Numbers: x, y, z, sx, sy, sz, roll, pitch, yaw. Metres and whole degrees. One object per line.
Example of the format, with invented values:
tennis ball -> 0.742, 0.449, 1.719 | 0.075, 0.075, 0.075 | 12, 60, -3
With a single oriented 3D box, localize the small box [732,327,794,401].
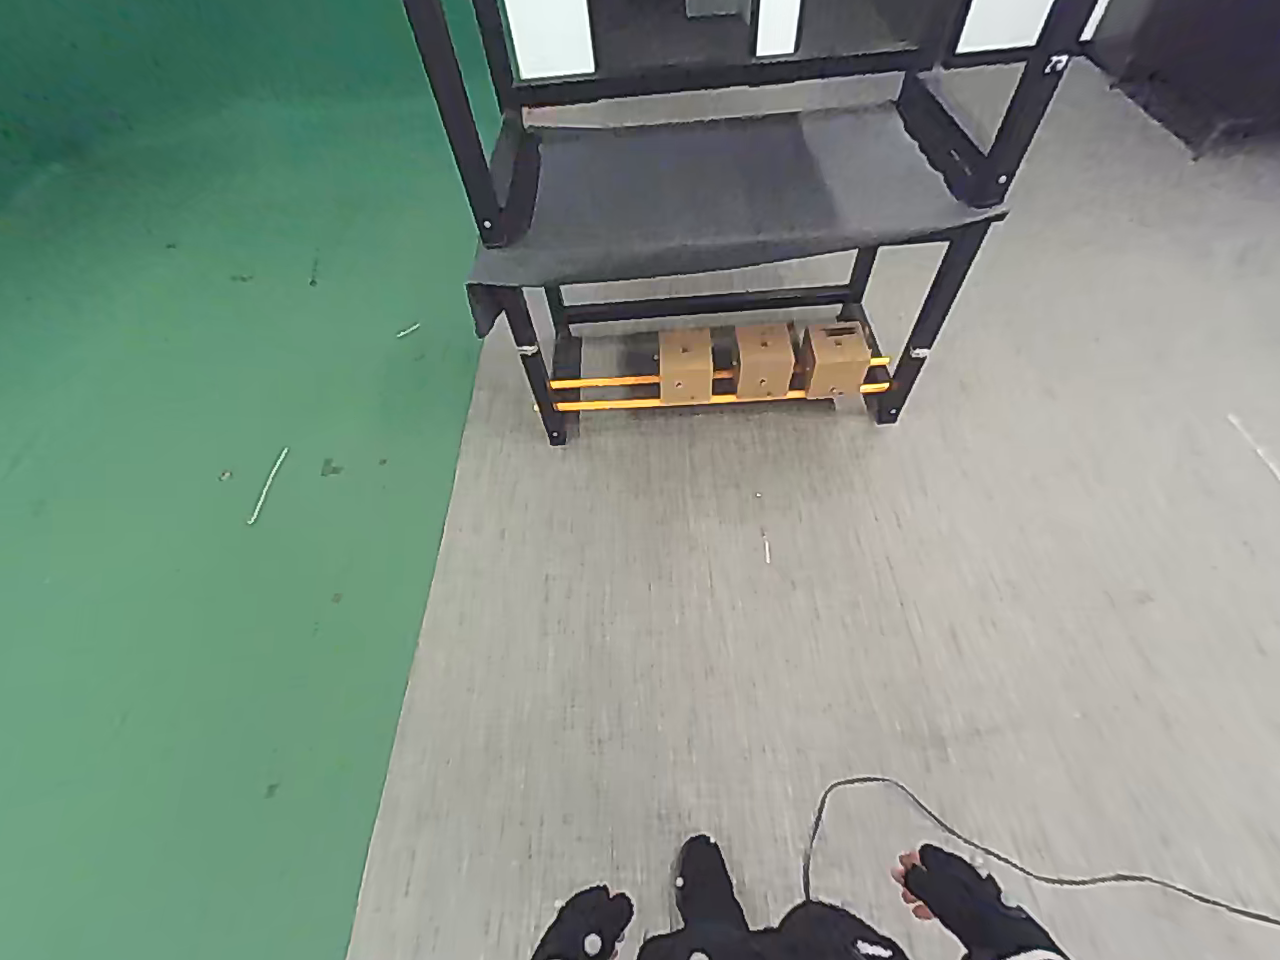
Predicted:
small box -> 0.395, -0.371, 1.764 | 0.168, 0.176, 0.179 | -3, 56, 2

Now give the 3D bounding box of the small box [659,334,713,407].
small box -> 0.149, -0.353, 1.774 | 0.168, 0.176, 0.179 | -2, 56, 2
